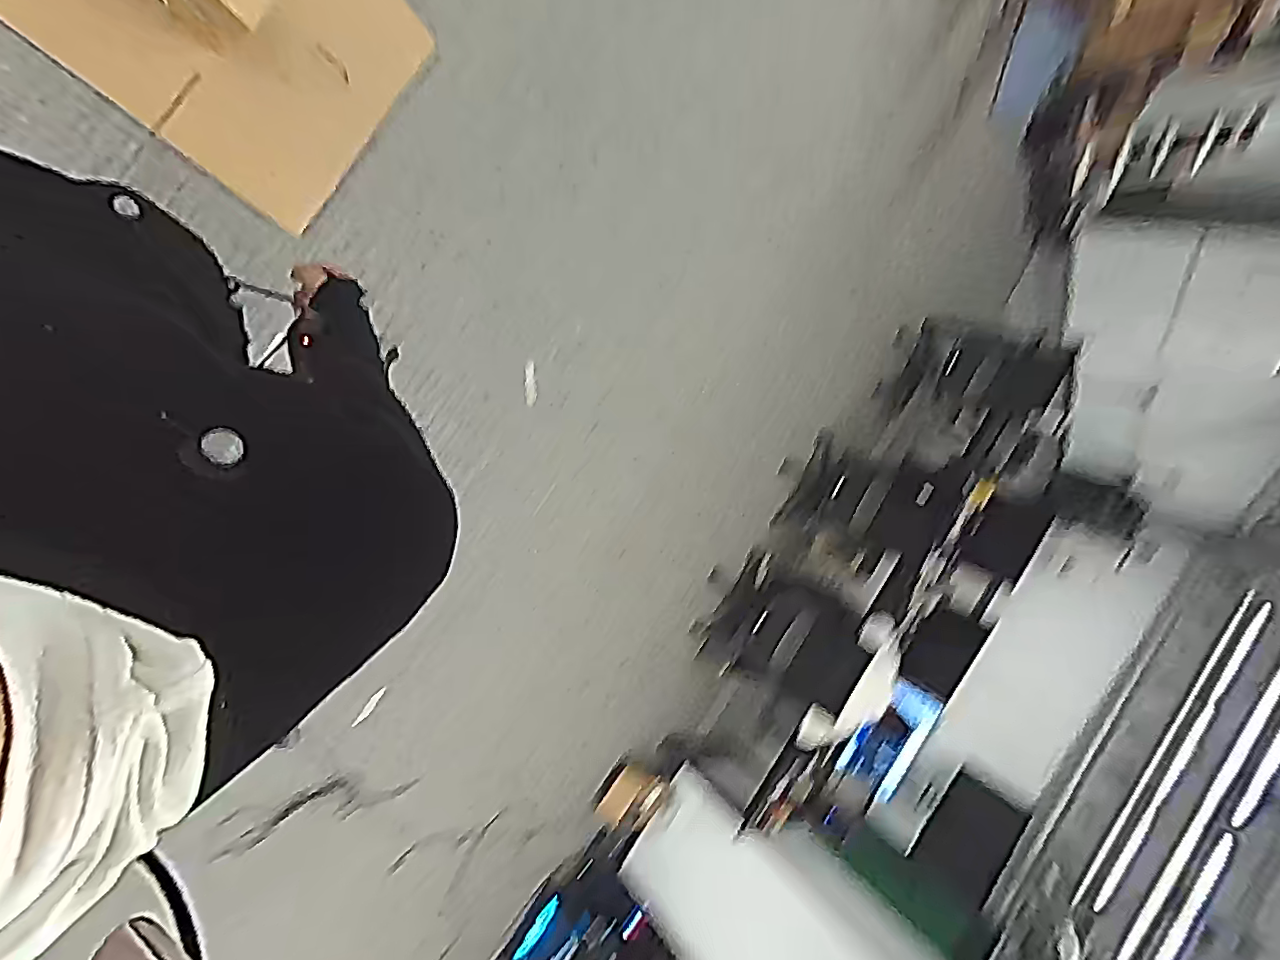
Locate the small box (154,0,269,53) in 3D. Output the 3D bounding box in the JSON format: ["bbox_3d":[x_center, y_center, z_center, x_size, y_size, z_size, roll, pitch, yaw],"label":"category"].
[{"bbox_3d":[-0.810,-0.941,1.001,0.179,0.176,0.168,-54,139,-7],"label":"small box"}]
